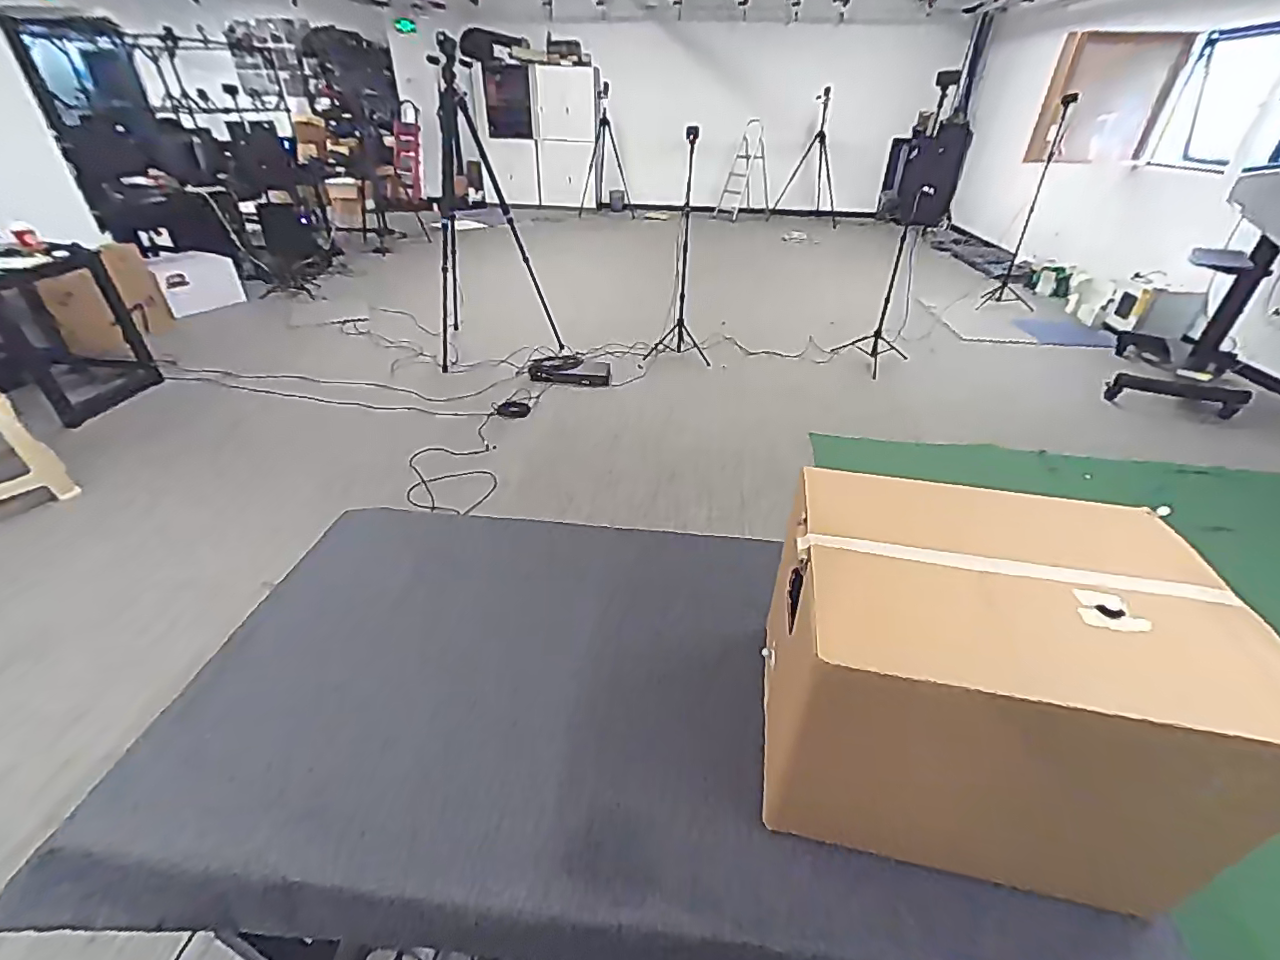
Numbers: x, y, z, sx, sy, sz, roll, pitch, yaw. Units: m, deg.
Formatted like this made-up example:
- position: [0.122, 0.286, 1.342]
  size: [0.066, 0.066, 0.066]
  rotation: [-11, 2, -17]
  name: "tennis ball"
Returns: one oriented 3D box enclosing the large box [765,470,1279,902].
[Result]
- position: [0.373, 0.217, 0.635]
  size: [0.408, 0.320, 0.320]
  rotation: [8, 35, 8]
  name: "large box"
